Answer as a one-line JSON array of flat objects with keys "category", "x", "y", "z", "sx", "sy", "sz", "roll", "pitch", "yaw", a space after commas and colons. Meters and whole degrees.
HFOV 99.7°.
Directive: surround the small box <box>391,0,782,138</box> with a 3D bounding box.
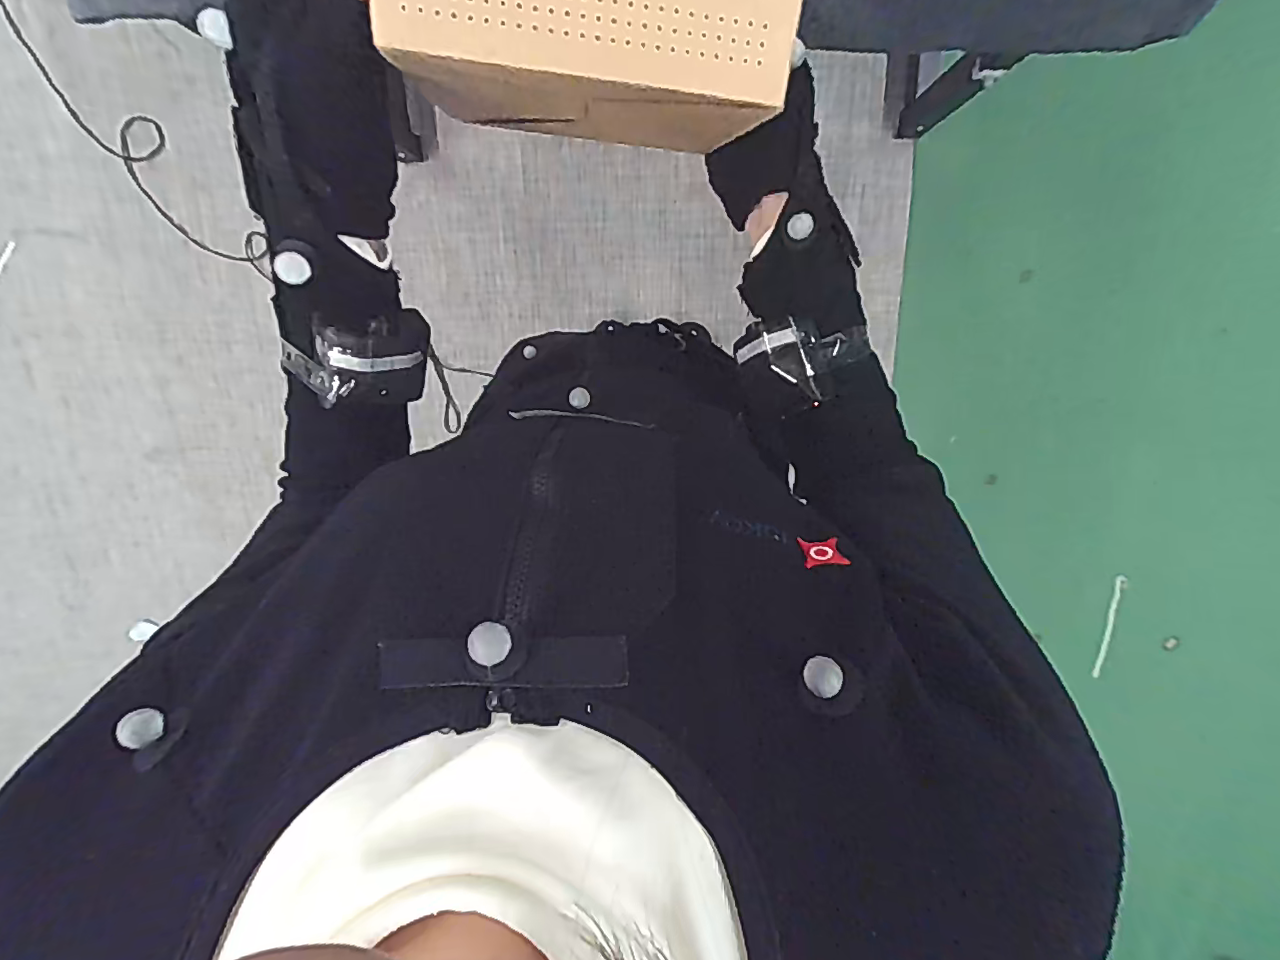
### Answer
[{"category": "small box", "x": -0.021, "y": -0.290, "z": 0.277, "sx": 0.179, "sy": 0.168, "sz": 0.176, "roll": 2, "pitch": 115, "yaw": -9}]
